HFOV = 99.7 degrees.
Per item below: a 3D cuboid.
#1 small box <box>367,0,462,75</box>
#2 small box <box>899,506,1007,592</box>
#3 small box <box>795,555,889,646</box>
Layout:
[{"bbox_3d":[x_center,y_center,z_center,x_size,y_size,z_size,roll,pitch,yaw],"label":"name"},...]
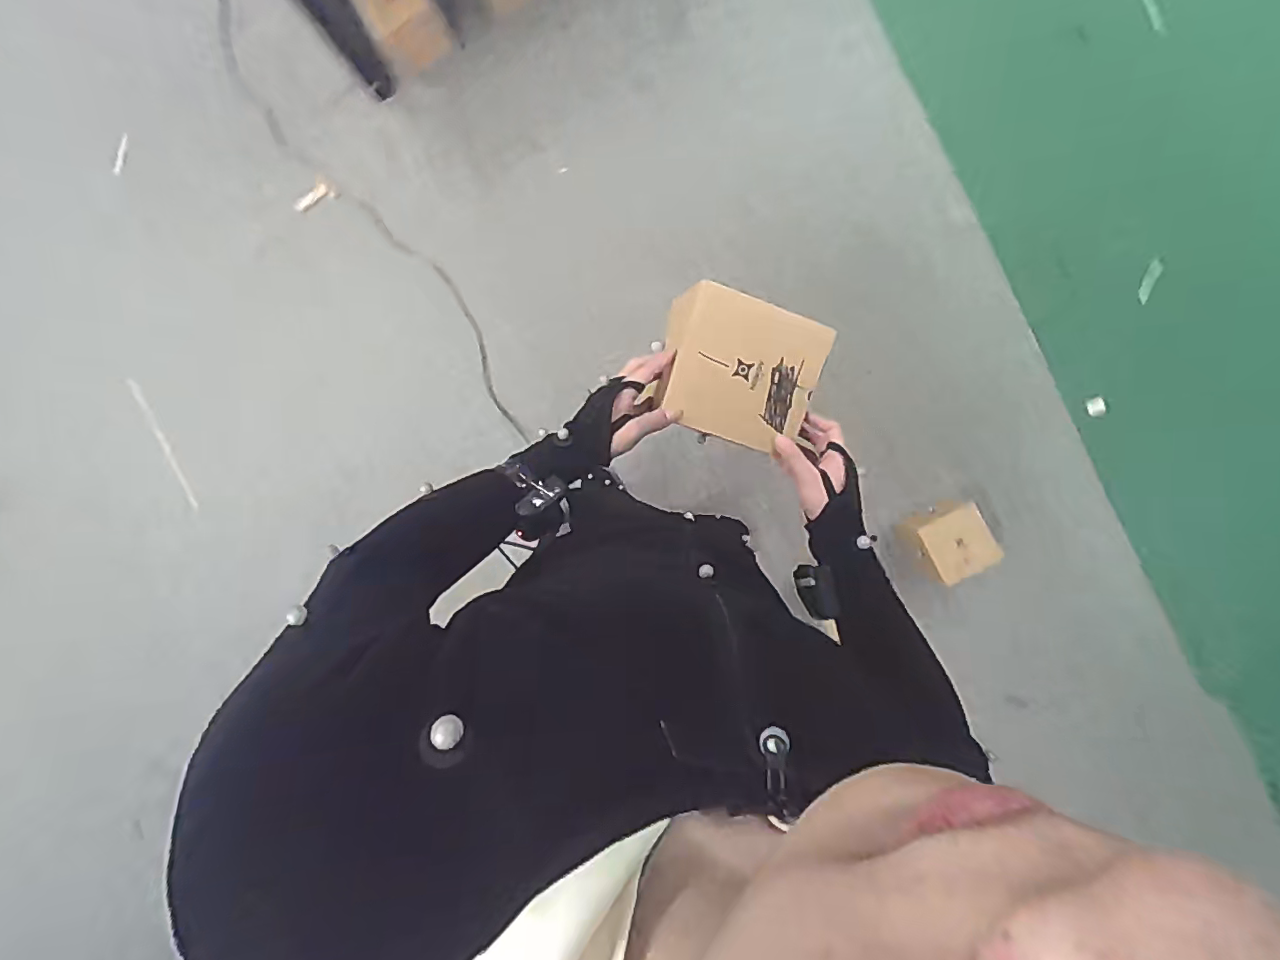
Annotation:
[{"bbox_3d":[-0.644,-1.319,1.544,0.179,0.176,0.168,-27,90,4],"label":"small box"},{"bbox_3d":[0.847,0.181,1.484,0.168,0.176,0.179,-27,90,5],"label":"small box"},{"bbox_3d":[0.556,0.330,1.513,0.168,0.176,0.179,-27,89,4],"label":"small box"}]
